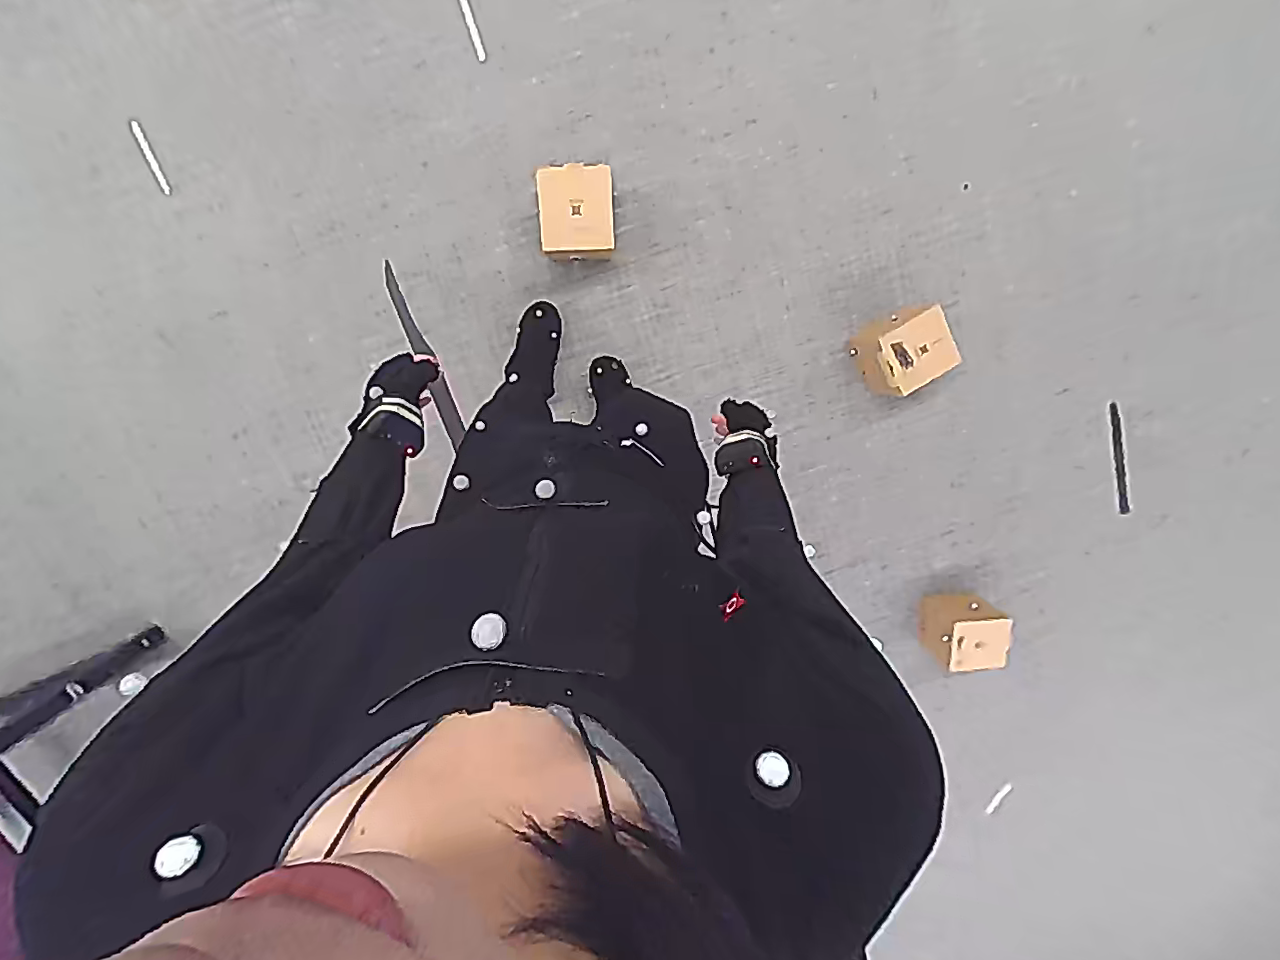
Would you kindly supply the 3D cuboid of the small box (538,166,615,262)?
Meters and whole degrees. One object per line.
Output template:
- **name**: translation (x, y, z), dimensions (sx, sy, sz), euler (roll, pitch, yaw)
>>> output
- **small box**: translation (-0.147, -0.622, 1.278), dimensions (0.168, 0.176, 0.179), euler (-3, 106, -3)

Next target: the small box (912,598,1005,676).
- **small box**: translation (0.971, 0.474, 1.658), dimensions (0.179, 0.176, 0.168), euler (-4, 104, -4)

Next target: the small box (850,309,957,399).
- **small box**: translation (0.682, -0.331, 1.427), dimensions (0.179, 0.176, 0.168), euler (-30, 105, 2)
